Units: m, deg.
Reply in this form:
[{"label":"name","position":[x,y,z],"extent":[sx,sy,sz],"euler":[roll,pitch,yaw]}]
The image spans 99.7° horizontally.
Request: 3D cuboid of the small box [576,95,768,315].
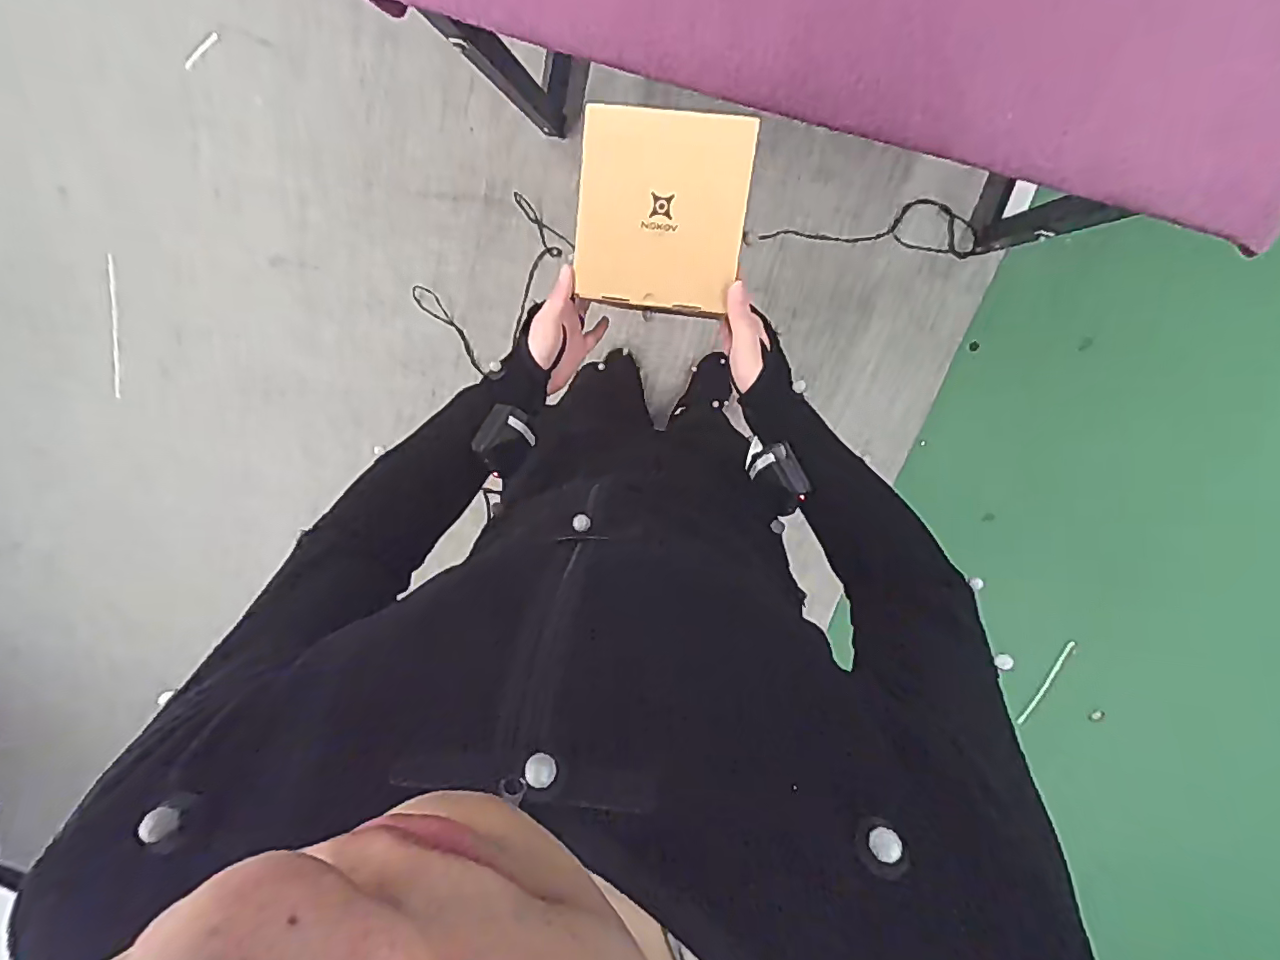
[{"label":"small box","position":[0.032,-0.283,0.594],"extent":[0.168,0.176,0.179],"euler":[8,107,3]}]
